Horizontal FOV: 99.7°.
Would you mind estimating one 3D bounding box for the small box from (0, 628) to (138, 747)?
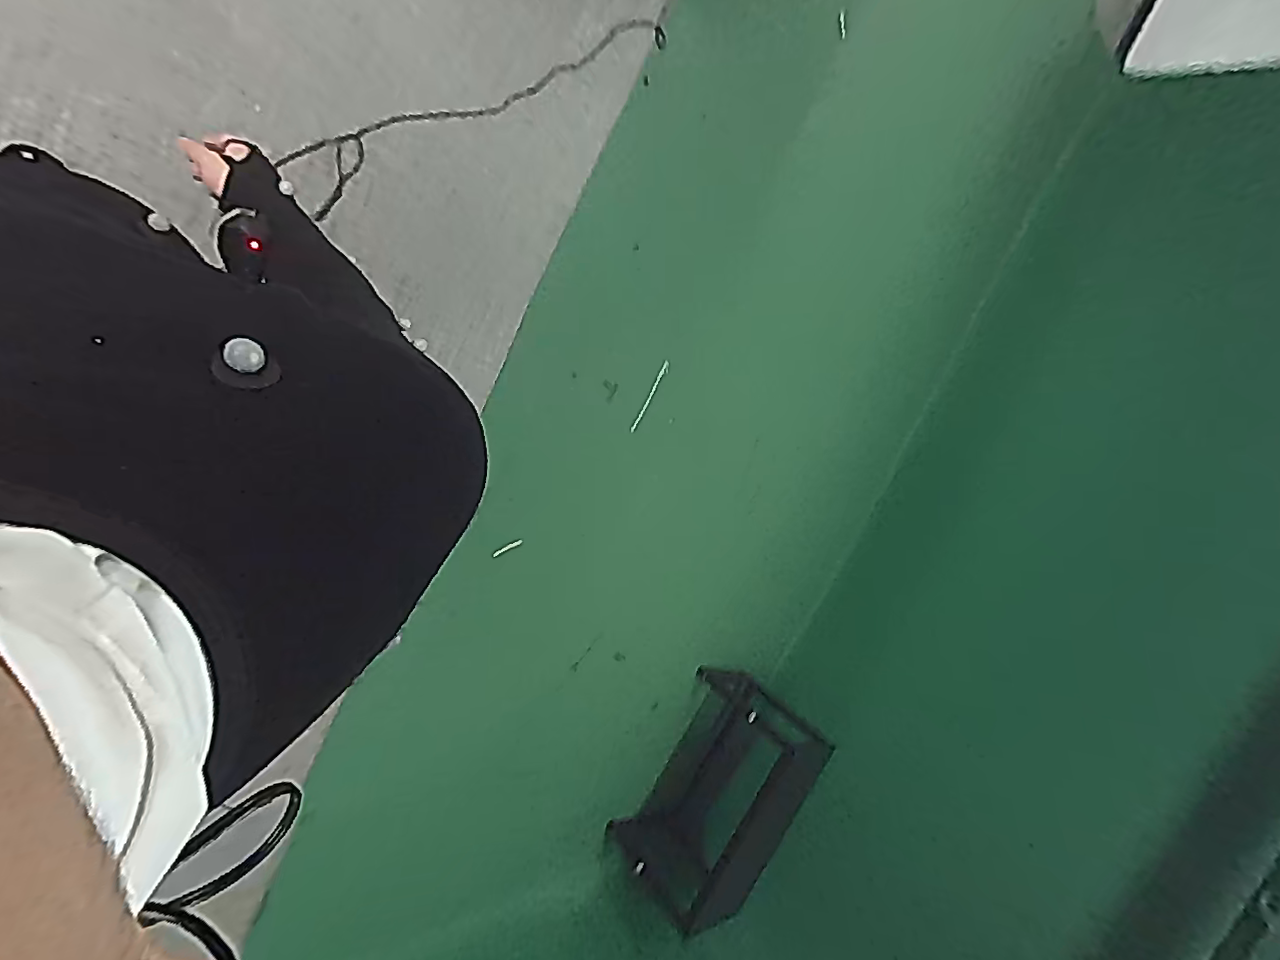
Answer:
[{"bbox_3d":[-1.217,0.435,1.146,0.179,0.176,0.168,33,90,-47],"label":"small box"}]

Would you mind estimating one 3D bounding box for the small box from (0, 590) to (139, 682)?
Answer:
[{"bbox_3d":[-1.322,0.378,1.262,0.179,0.176,0.168,33,89,-47],"label":"small box"}]
